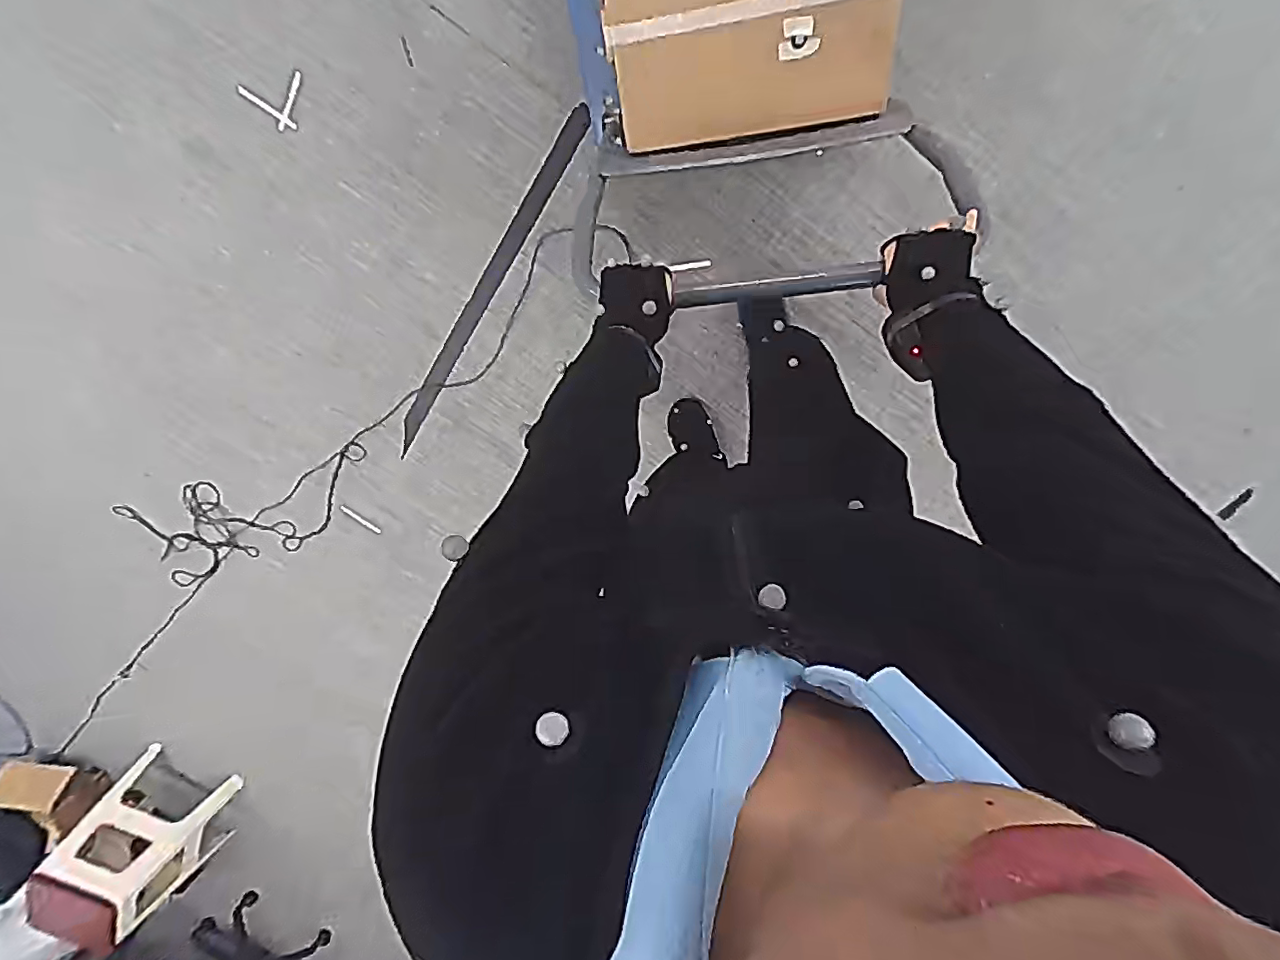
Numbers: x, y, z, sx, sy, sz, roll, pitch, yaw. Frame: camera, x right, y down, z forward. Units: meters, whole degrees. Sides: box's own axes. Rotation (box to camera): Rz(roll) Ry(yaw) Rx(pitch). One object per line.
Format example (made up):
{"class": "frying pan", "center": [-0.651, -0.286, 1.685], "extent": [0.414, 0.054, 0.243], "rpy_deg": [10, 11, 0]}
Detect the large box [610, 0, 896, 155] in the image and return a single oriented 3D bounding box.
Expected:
{"class": "large box", "center": [0.165, -0.772, 0.881], "extent": [0.408, 0.320, 0.320], "rpy_deg": [-6, 132, 8]}
